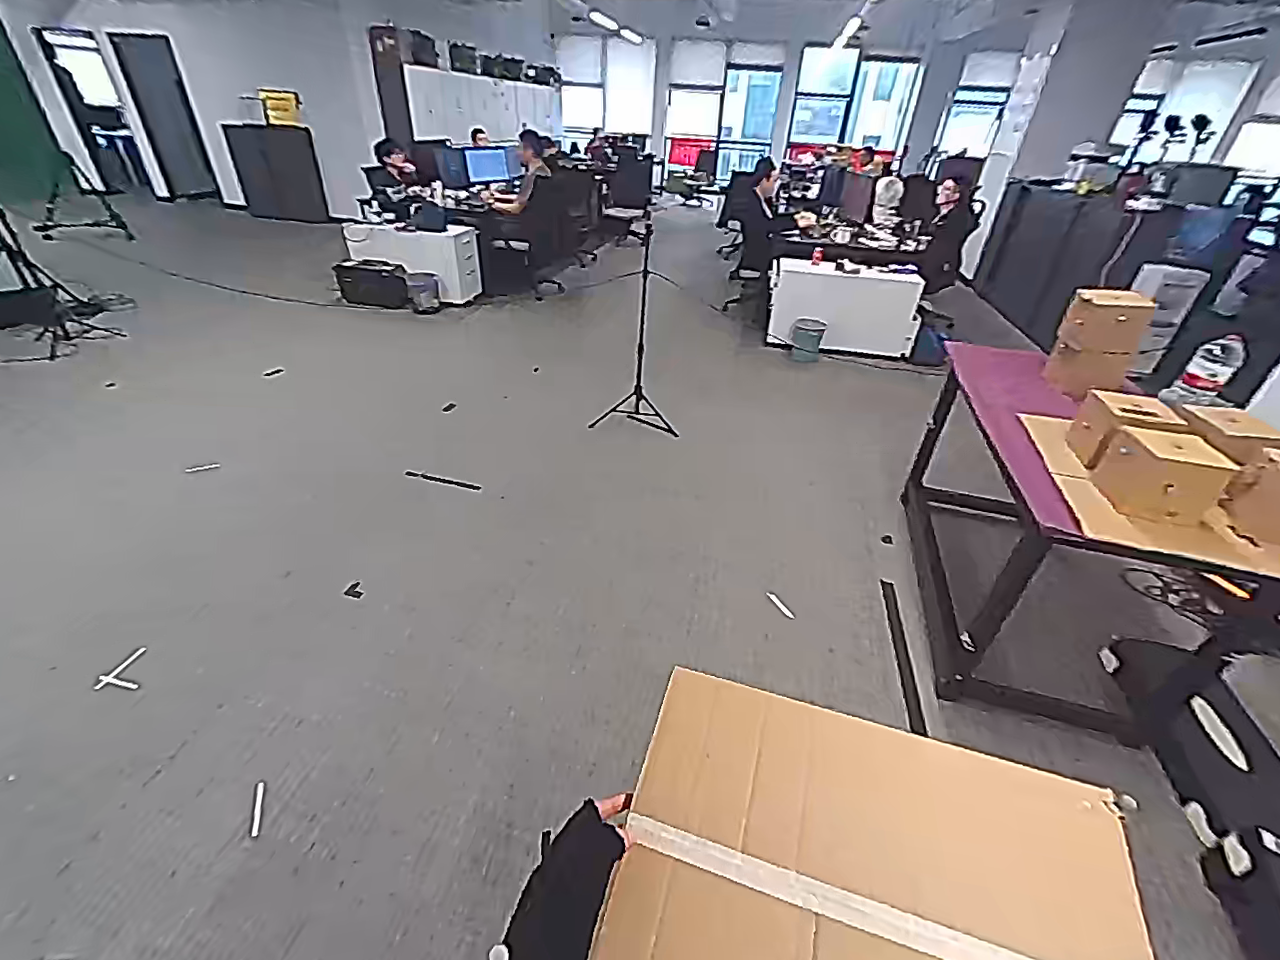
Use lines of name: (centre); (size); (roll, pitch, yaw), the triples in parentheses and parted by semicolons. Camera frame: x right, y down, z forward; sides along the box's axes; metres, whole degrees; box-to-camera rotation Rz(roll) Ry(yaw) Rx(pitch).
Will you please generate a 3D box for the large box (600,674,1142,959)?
large box: (0.194, 0.455, 0.553); (0.408, 0.320, 0.320); (11, 48, 15)
